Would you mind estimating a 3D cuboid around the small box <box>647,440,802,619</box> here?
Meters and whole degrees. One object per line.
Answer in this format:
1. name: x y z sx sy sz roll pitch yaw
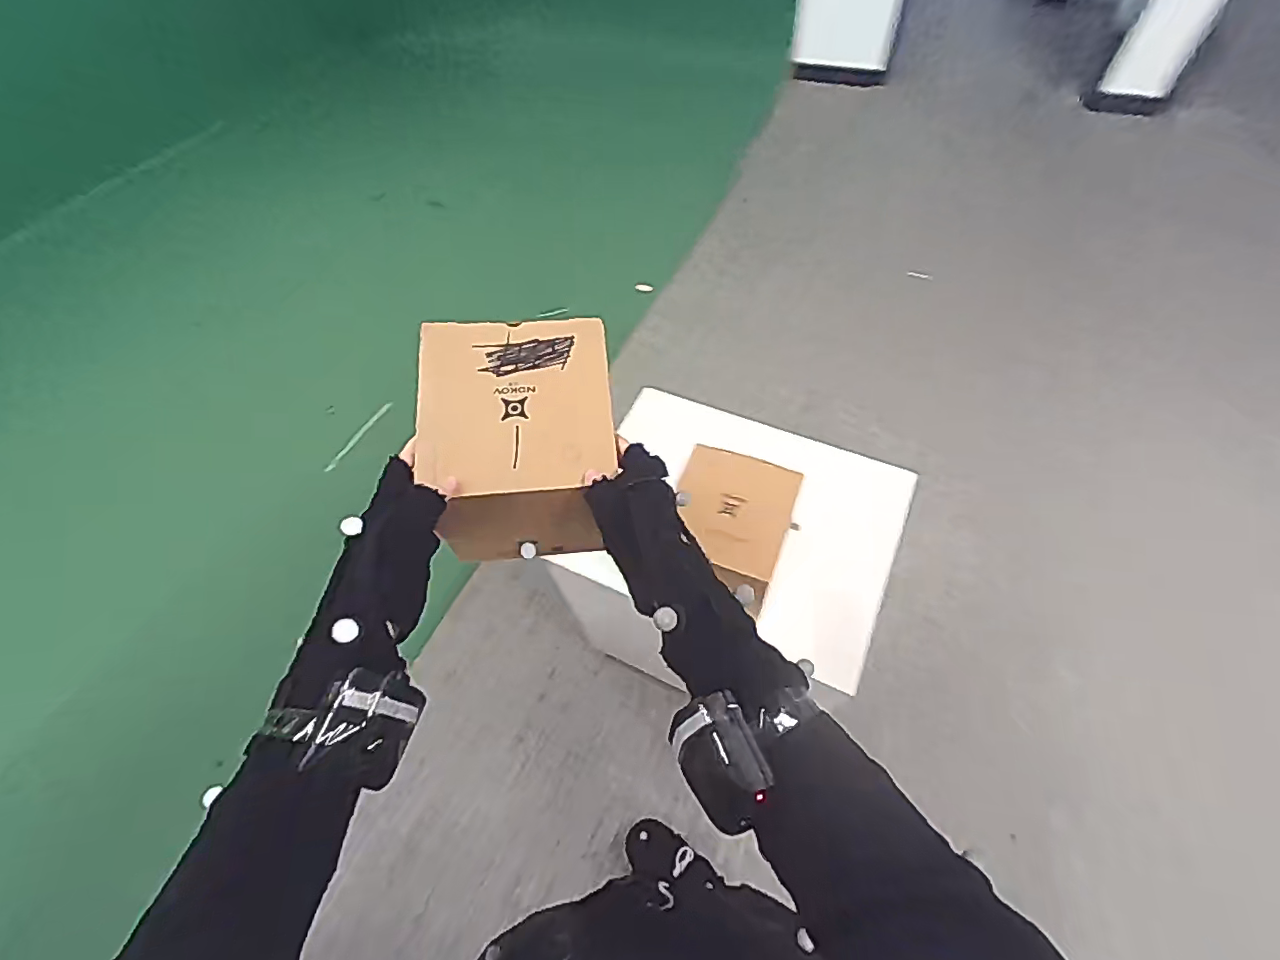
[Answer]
1. small box: 0.122 0.075 0.786 0.168 0.176 0.179 16 62 17
